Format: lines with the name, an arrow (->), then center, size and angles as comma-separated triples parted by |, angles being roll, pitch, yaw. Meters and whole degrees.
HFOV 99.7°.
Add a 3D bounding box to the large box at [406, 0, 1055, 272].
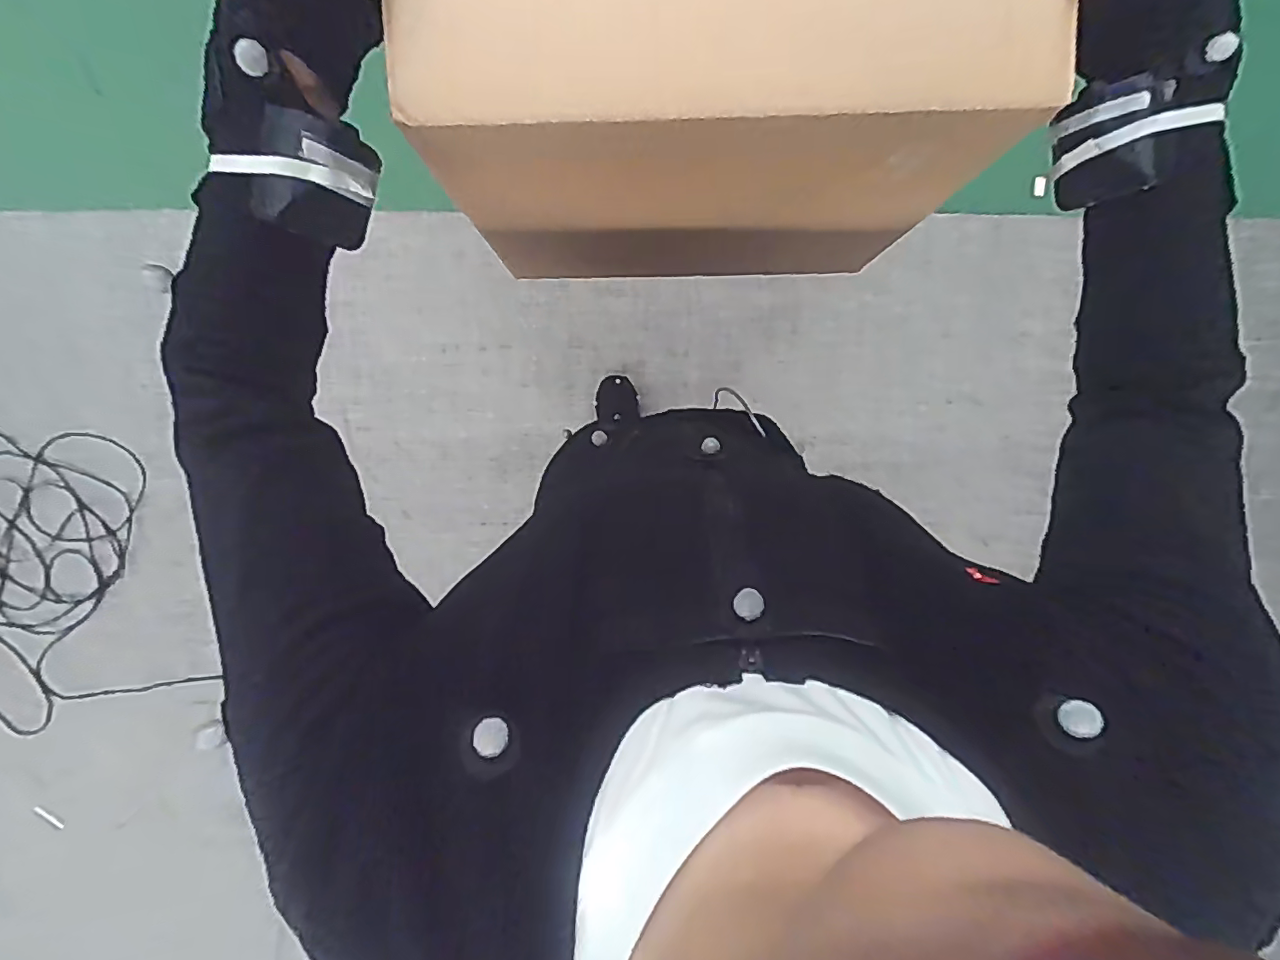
large box -> 0.050, -0.392, 0.472 | 0.408, 0.320, 0.320 | -2, 95, 1
